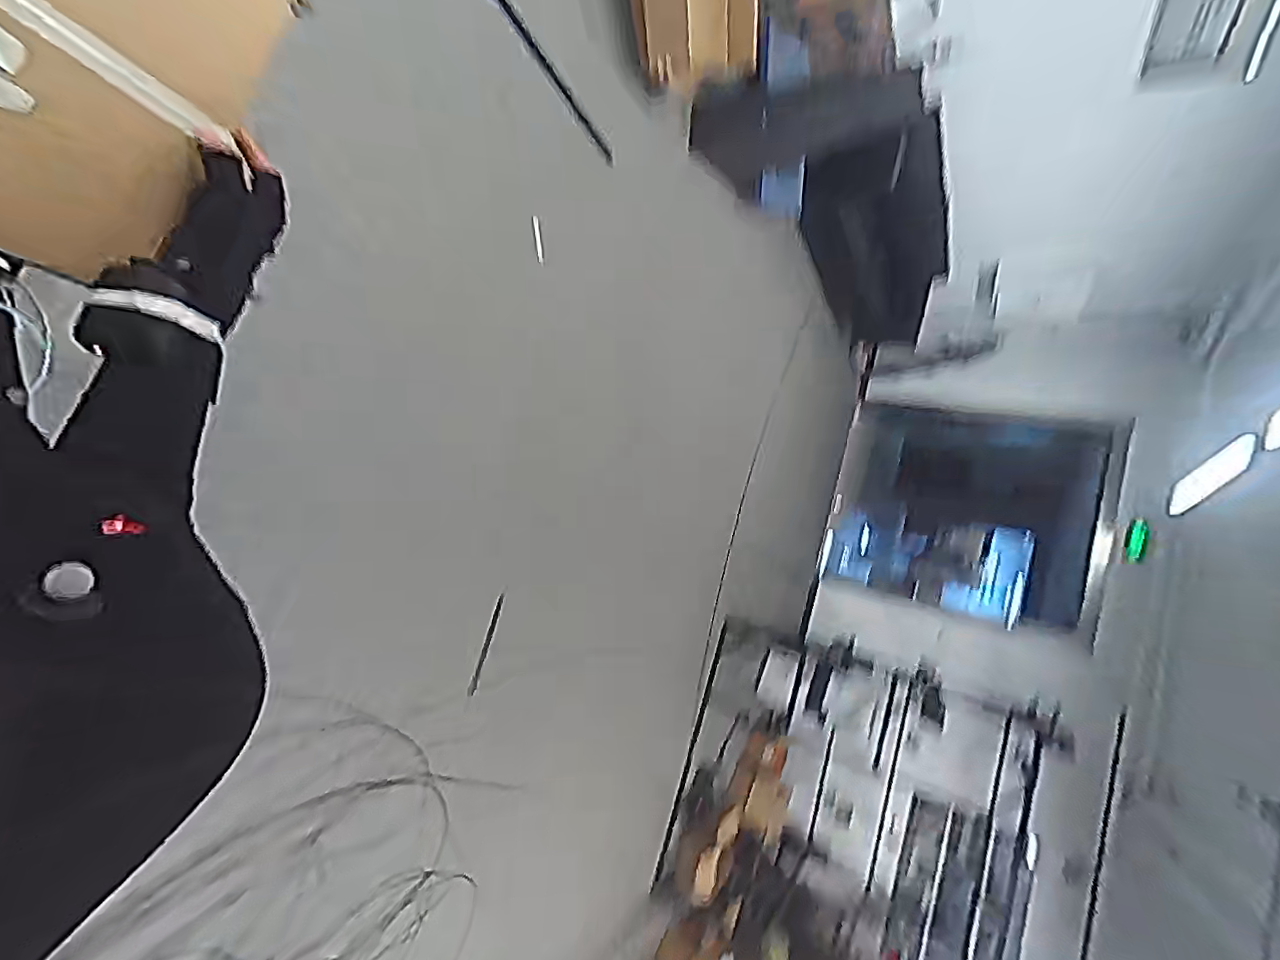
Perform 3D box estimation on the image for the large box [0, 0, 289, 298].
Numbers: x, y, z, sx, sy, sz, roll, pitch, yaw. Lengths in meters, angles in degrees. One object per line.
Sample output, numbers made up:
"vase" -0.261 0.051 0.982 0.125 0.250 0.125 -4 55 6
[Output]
"large box" -0.574 -0.386 0.370 0.320 0.320 0.408 -65 152 -2
